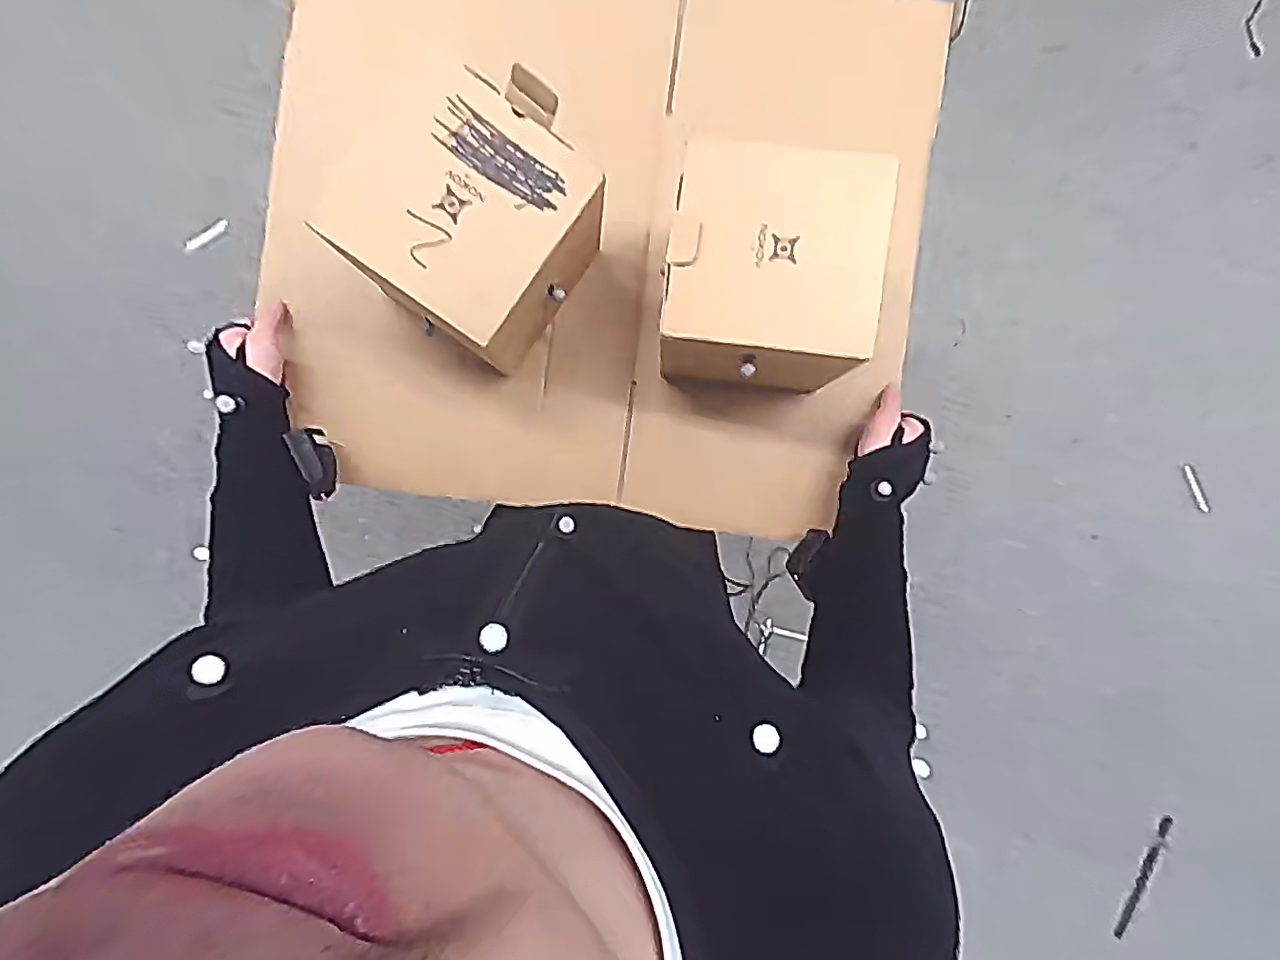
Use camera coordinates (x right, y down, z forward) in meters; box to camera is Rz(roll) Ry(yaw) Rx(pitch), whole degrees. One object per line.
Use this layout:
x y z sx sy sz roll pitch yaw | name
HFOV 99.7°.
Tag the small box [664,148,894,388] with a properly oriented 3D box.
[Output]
0.121 -0.191 0.537 0.179 0.176 0.168 7 90 4 | small box
